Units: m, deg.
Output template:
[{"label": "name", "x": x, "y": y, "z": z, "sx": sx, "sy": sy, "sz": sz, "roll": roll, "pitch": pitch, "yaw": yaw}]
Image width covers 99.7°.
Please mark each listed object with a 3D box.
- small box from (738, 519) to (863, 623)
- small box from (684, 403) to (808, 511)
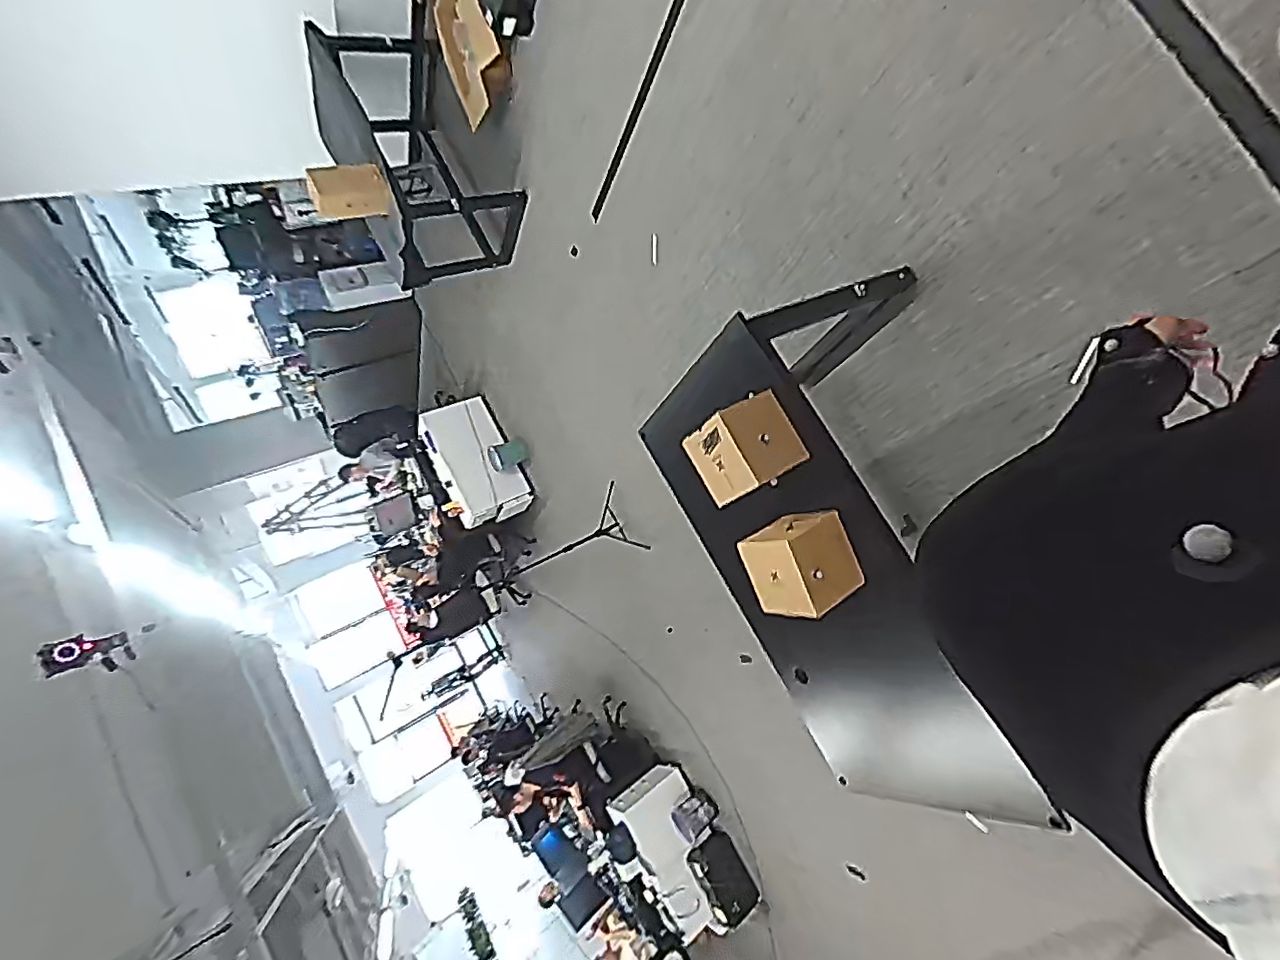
[{"label": "small box", "x": 0.358, "y": 0.195, "z": 1.205, "sx": 0.168, "sy": 0.176, "sz": 0.179, "roll": -17, "pitch": 98, "yaw": 61}, {"label": "small box", "x": 0.236, "y": -0.057, "z": 1.212, "sx": 0.179, "sy": 0.176, "sz": 0.168, "roll": 61, "pitch": 151, "yaw": 6}]
